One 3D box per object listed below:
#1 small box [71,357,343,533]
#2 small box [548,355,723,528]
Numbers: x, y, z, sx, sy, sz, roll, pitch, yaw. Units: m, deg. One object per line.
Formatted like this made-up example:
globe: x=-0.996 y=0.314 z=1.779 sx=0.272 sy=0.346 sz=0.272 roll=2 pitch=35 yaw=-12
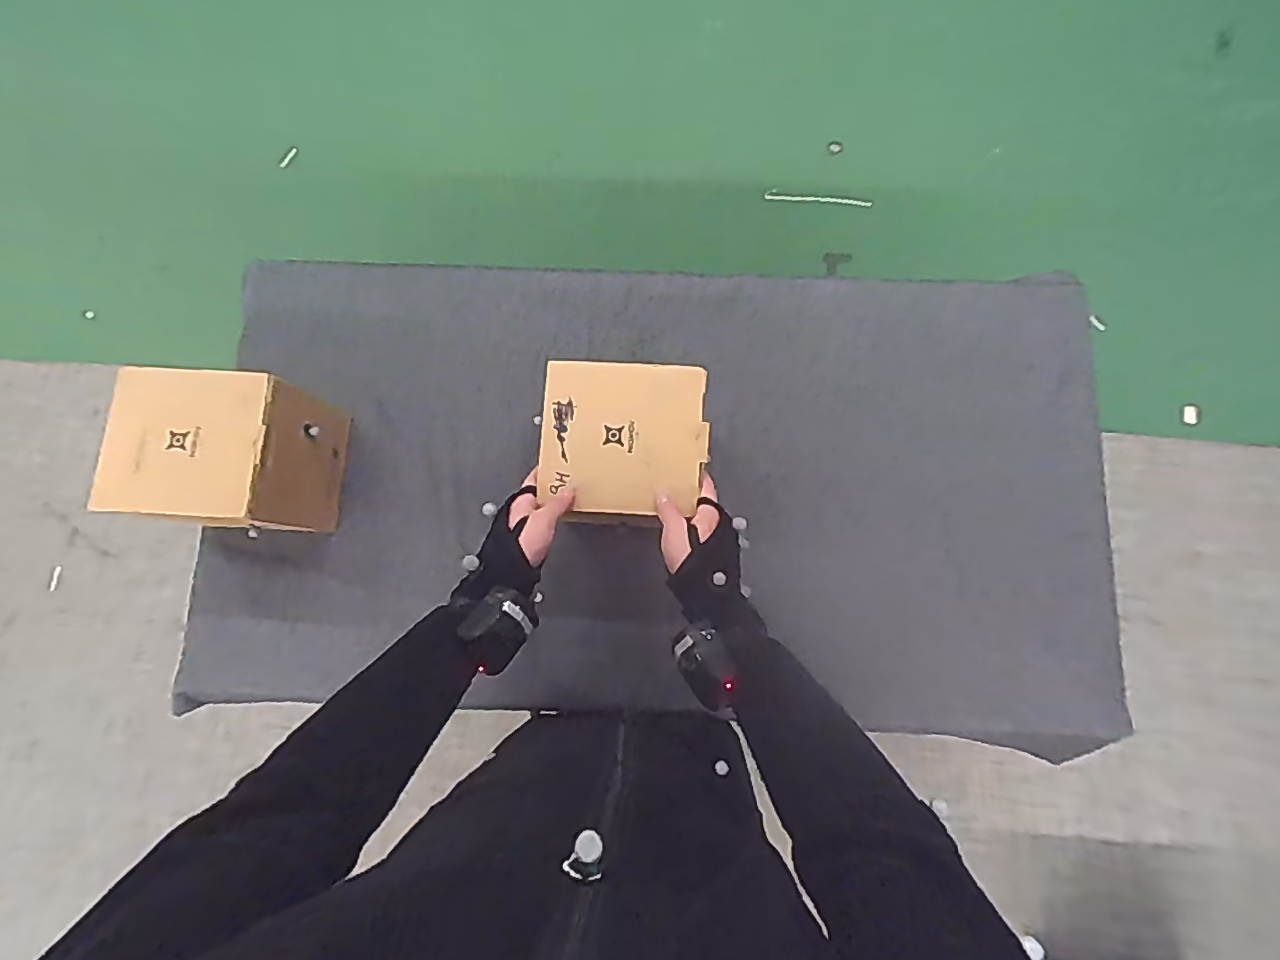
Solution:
small box: x=-0.483 y=-0.030 z=0.636 sx=0.179 sy=0.176 sz=0.168 roll=2 pitch=78 yaw=0
small box: x=-0.005 y=-0.034 z=0.643 sx=0.179 sy=0.176 sz=0.168 roll=4 pitch=80 yaw=-1
